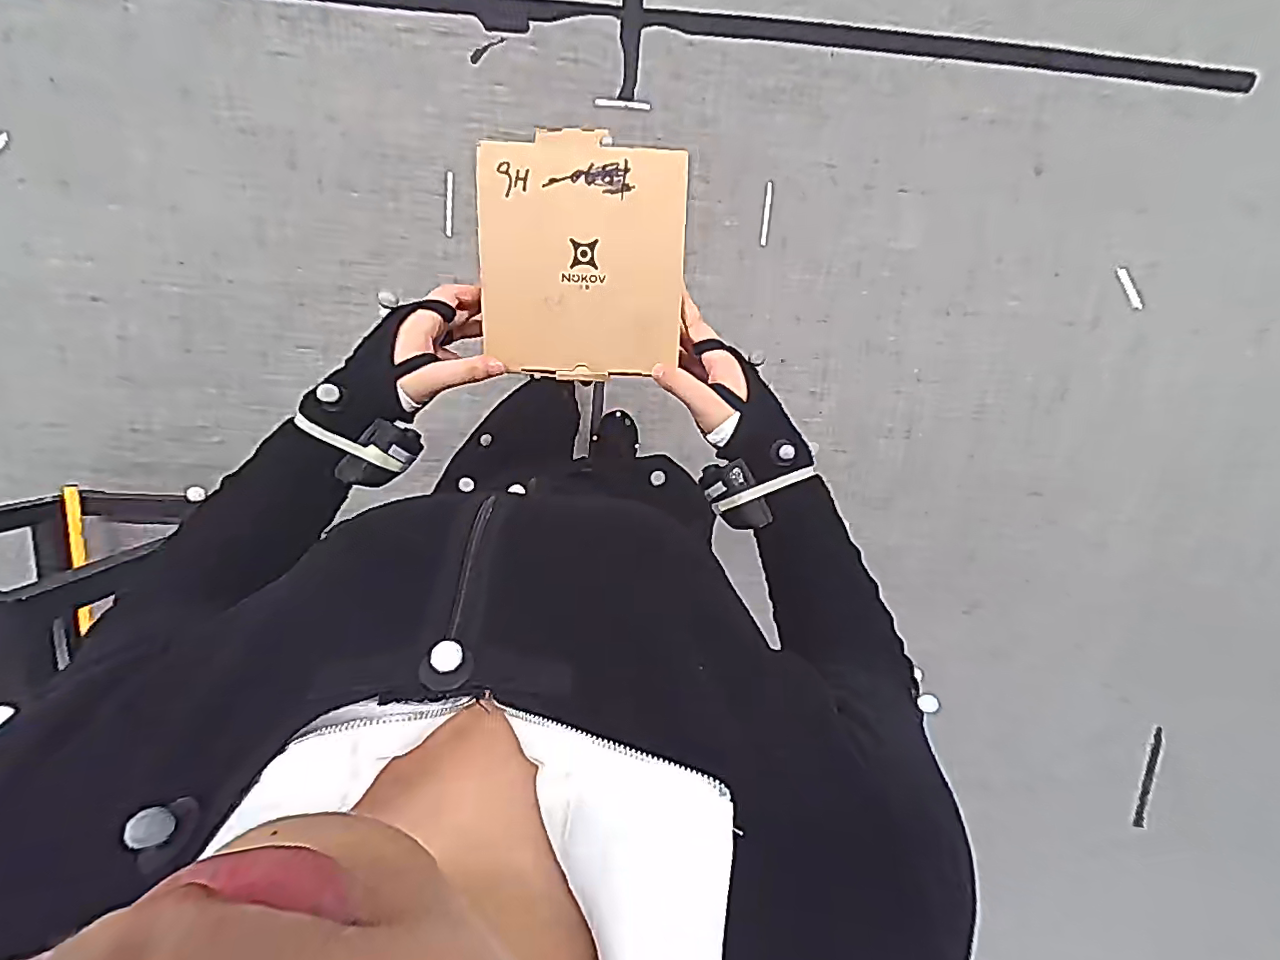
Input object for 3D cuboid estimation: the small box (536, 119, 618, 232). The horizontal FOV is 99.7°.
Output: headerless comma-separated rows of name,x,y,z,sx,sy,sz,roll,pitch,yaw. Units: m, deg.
small box,-0.134,-0.665,1.196,0.168,0.176,0.179,-3,102,-2
